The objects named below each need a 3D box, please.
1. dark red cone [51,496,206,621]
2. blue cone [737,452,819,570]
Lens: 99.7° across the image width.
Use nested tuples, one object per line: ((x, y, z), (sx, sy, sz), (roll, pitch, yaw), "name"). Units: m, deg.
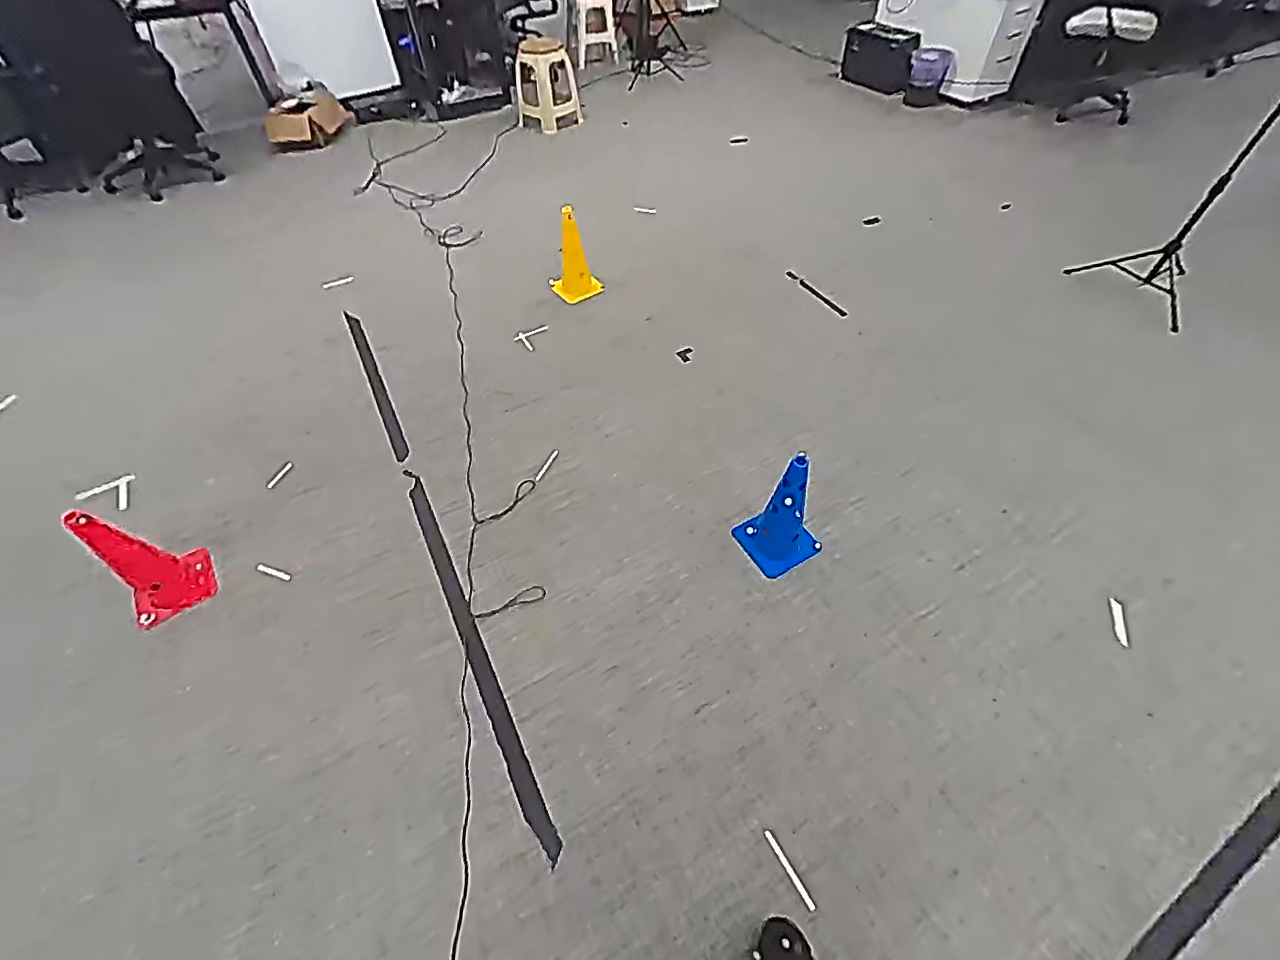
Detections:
((-1.355, 0.180, 1.410), (0.201, 0.394, 0.202), (-31, 56, -22), "dark red cone")
((0.401, 0.064, 1.468), (0.192, 0.380, 0.193), (-23, 53, -17), "blue cone")
